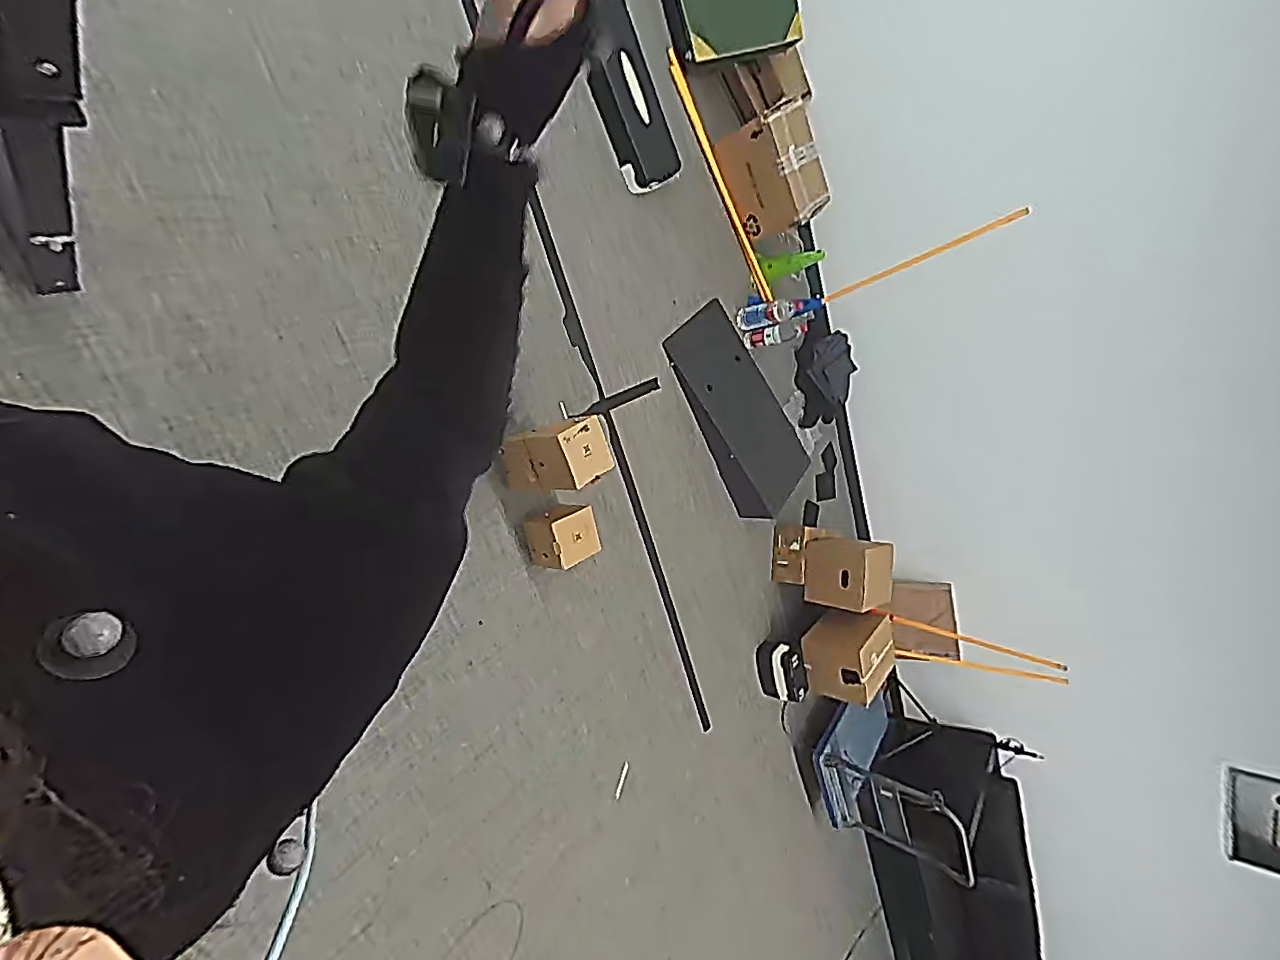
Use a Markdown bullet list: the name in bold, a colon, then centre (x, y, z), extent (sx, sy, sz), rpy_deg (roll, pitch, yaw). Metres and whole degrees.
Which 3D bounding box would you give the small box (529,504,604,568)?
- **small box**: centre (-0.254, 0.184, 1.825), extent (0.179, 0.176, 0.168), rpy_deg (-26, 108, -44)

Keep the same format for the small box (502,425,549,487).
- **small box**: centre (-0.326, -0.079, 1.752), extent (0.179, 0.176, 0.168), rpy_deg (-30, 111, -43)

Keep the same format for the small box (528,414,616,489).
- **small box**: centre (-0.208, -0.087, 1.638), extent (0.168, 0.176, 0.179), rpy_deg (-36, 115, -41)
